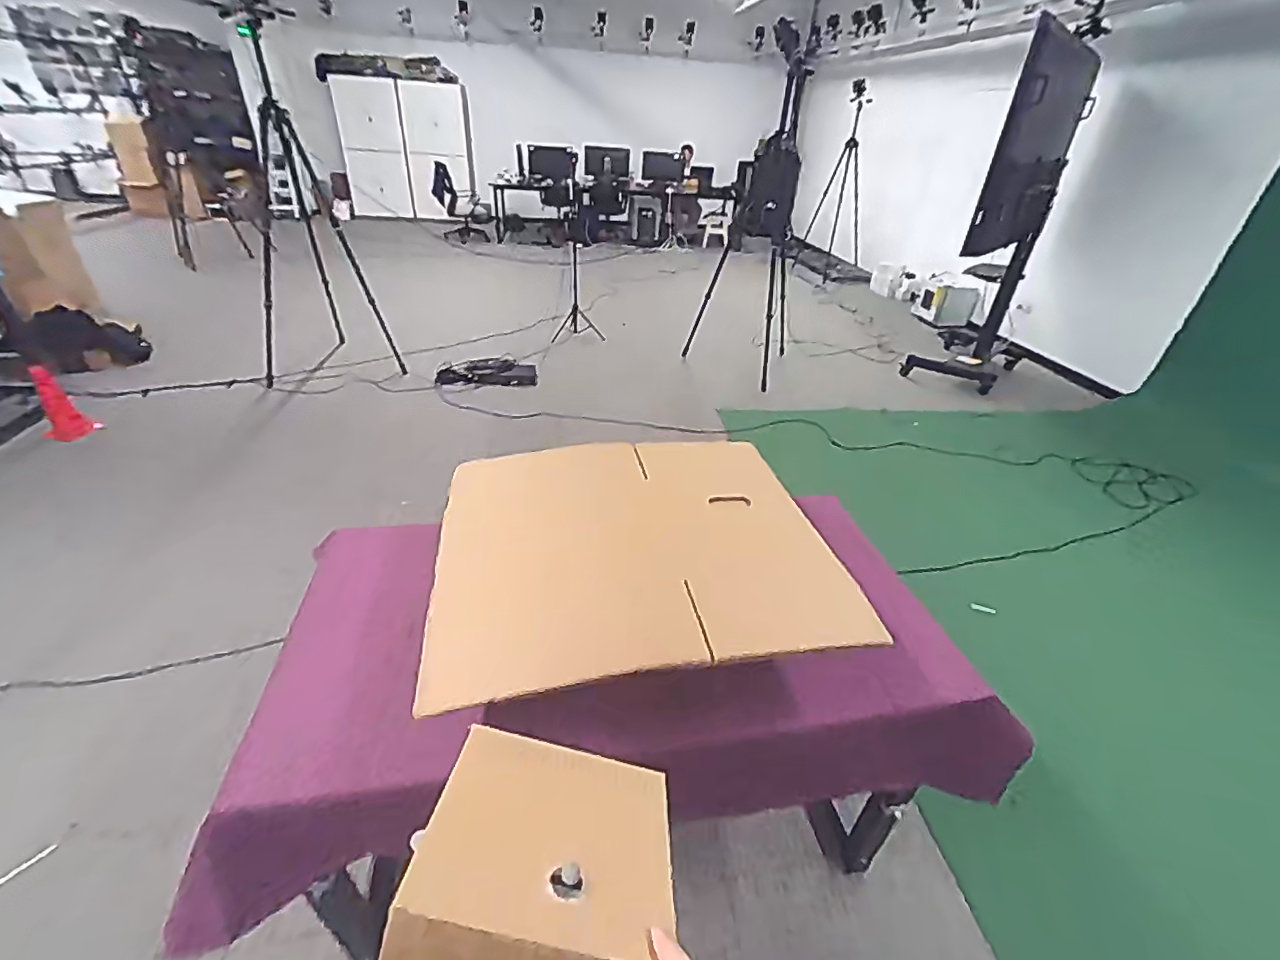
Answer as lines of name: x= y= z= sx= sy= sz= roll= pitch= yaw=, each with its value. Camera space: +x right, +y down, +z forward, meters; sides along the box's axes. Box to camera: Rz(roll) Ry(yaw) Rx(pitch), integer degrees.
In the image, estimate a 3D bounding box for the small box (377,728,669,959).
small box: x=-0.087 y=0.326 z=0.421 sx=0.179 sy=0.168 sz=0.176 roll=16 pitch=11 yaw=-3
